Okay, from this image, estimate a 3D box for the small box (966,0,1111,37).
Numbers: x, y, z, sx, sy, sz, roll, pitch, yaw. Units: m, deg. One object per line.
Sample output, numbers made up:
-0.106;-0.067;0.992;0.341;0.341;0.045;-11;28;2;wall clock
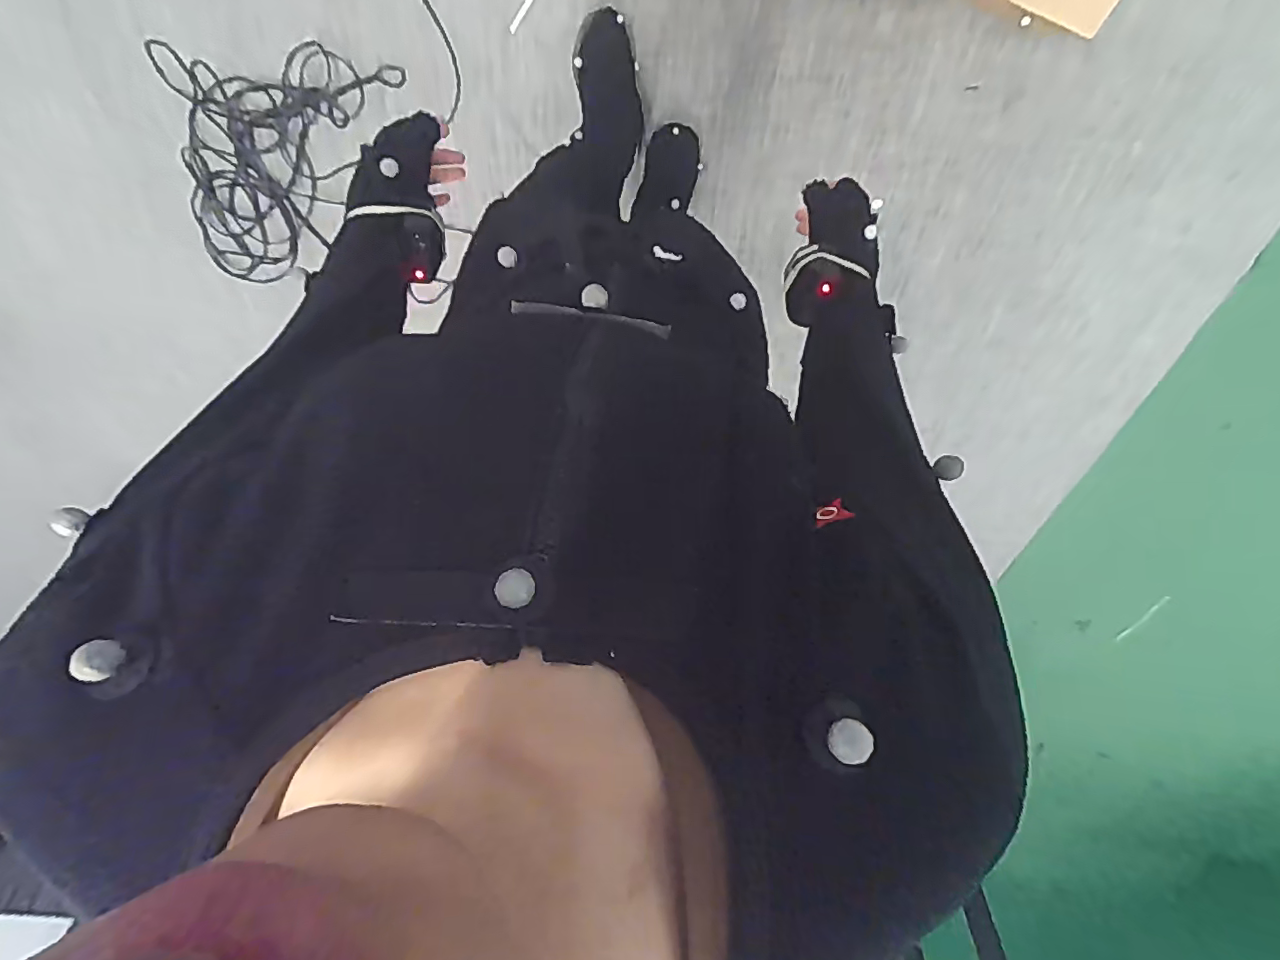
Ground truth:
0.681;-0.862;0.888;0.179;0.176;0.168;14;131;-11;small box
